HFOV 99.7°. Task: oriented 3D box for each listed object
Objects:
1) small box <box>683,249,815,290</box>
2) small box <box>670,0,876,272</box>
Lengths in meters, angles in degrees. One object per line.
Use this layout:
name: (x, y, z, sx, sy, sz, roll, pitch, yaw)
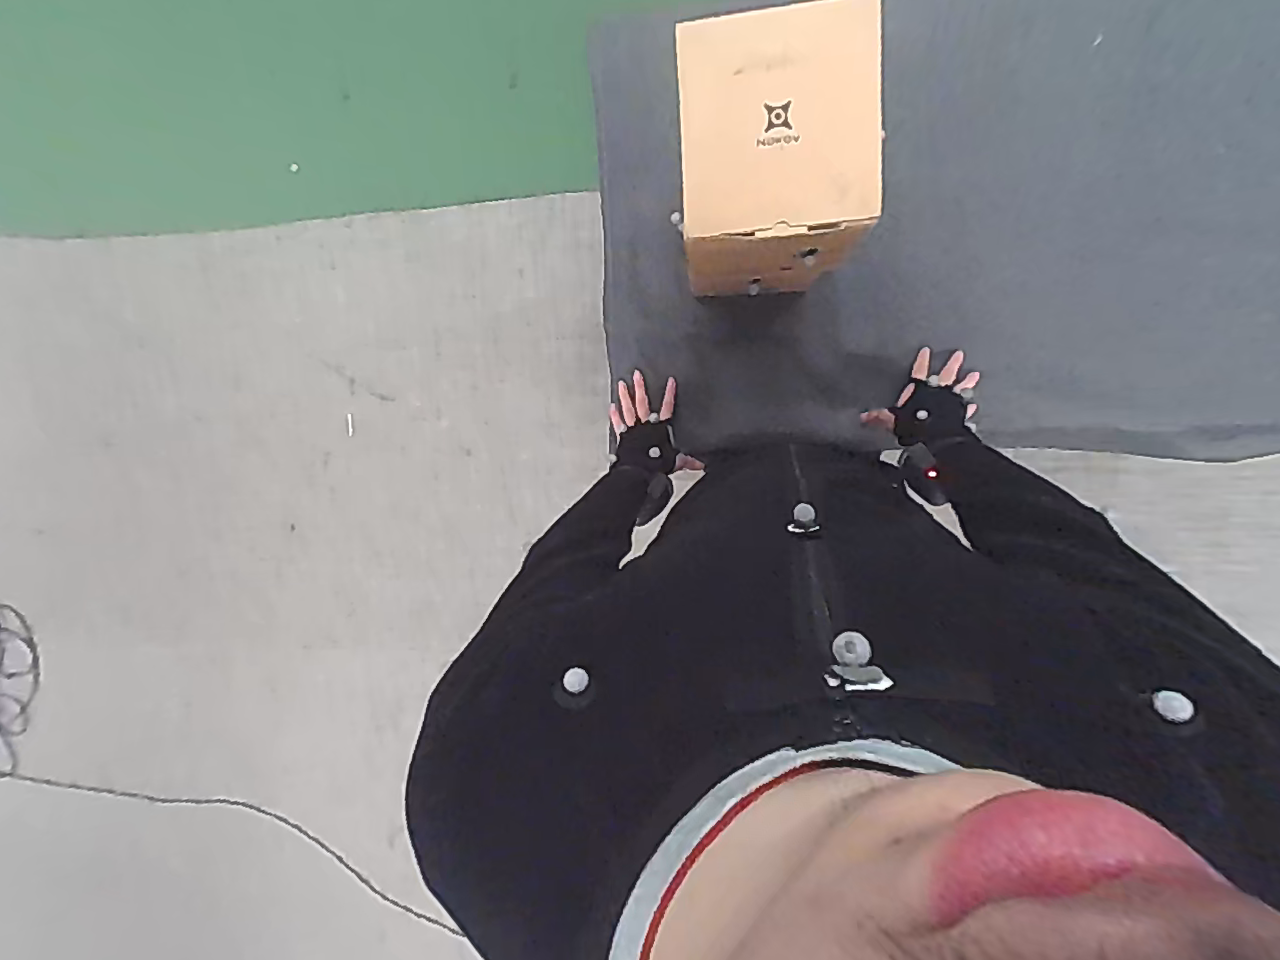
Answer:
small box: (0.140, -0.345, 0.684, 0.168, 0.176, 0.179, -1, 97, 7)
small box: (0.120, -0.312, 0.525, 0.168, 0.176, 0.179, -3, 96, 7)
